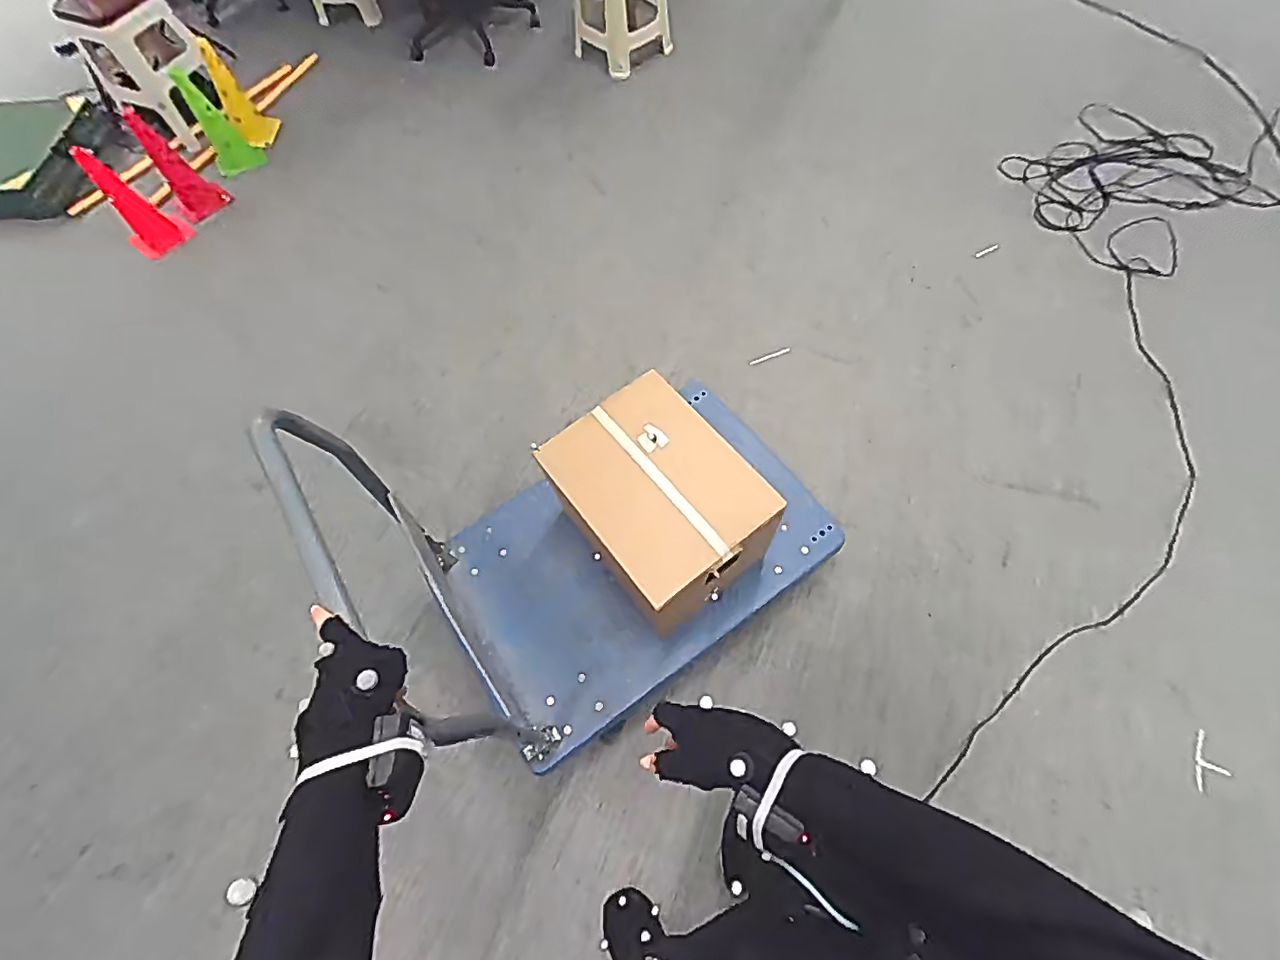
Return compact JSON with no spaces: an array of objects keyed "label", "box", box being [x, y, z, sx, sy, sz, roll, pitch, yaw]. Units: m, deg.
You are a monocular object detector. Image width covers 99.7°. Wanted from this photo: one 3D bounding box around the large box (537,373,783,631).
[{"label":"large box","box":[0.045,0.057,1.180,0.320,0.320,0.408,-36,66,-12]}]
